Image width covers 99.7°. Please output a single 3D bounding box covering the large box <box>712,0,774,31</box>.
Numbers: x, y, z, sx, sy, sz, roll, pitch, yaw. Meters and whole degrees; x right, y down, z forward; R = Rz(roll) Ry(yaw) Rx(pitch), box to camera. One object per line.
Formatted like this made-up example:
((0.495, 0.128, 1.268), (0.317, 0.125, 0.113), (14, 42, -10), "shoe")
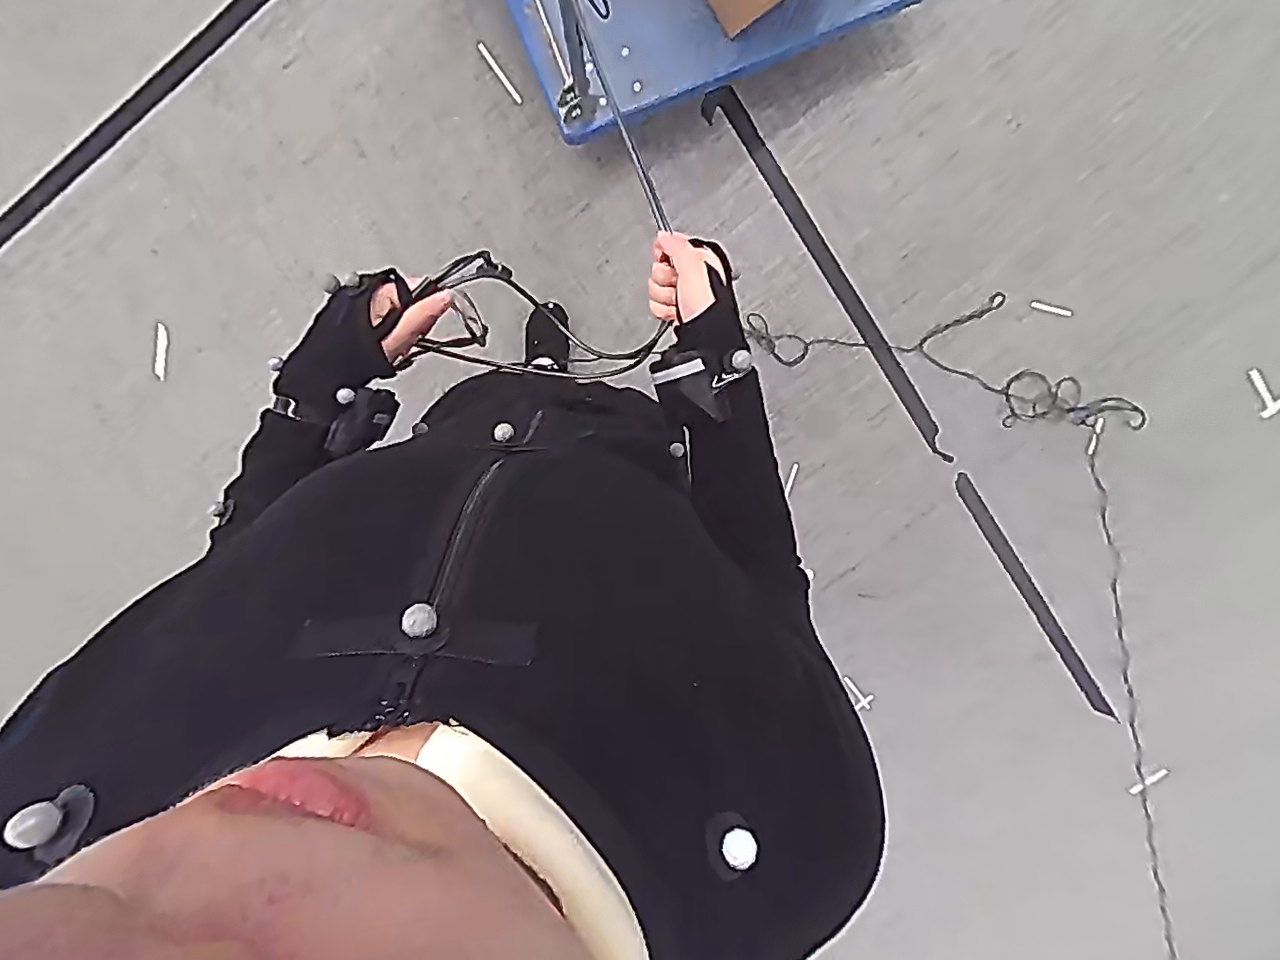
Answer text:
((0.204, -1.145, 0.938), (0.320, 0.320, 0.408), (-36, 102, 5), "large box")
